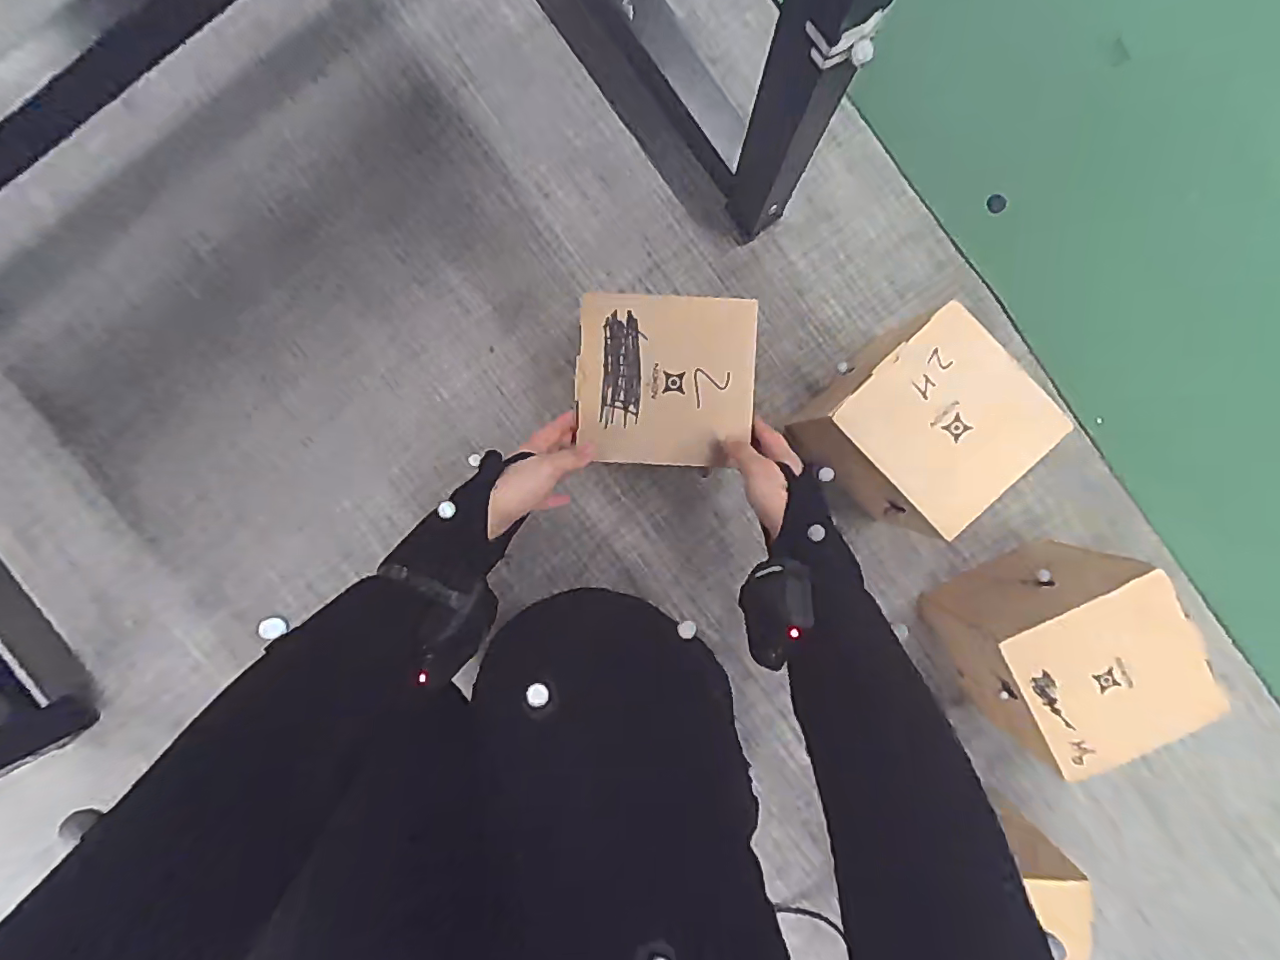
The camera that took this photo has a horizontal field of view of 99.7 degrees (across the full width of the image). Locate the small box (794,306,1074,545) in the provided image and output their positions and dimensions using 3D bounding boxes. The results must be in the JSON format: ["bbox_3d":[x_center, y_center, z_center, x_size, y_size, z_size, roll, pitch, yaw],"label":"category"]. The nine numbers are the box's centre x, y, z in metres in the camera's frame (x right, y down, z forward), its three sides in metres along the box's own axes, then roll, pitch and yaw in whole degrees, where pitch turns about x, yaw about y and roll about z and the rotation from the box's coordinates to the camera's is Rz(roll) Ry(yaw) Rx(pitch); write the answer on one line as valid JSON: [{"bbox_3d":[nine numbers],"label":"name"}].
[{"bbox_3d":[0.303,-0.057,0.600,0.168,0.176,0.179,-44,91,3],"label":"small box"}]

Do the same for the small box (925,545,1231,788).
[{"bbox_3d":[0.467,0.190,0.607,0.179,0.176,0.168,-27,92,3],"label":"small box"}]
